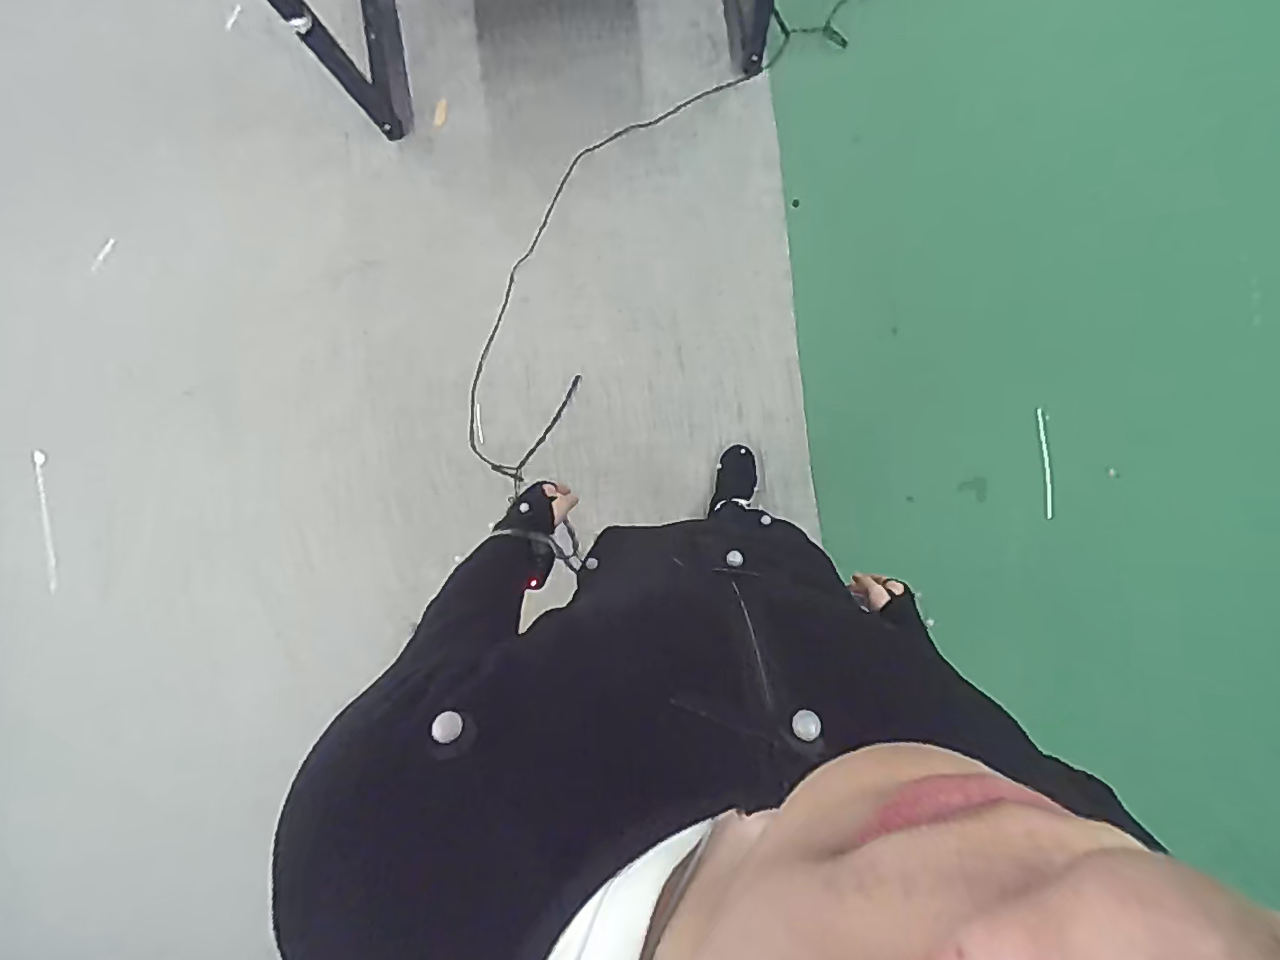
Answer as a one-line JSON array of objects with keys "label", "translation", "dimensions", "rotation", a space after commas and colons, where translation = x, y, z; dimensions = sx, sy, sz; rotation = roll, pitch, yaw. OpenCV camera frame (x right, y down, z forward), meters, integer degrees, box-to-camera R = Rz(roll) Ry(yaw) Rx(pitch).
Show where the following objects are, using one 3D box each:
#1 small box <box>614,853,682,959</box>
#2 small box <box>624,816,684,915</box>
[{"label": "small box", "translation": [0.024, 1.104, 1.395], "dimensions": [0.168, 0.176, 0.179], "rotation": [0, 91, 5]}, {"label": "small box", "translation": [0.042, 1.102, 1.559], "dimensions": [0.168, 0.176, 0.179], "rotation": [-1, 91, 5]}]
